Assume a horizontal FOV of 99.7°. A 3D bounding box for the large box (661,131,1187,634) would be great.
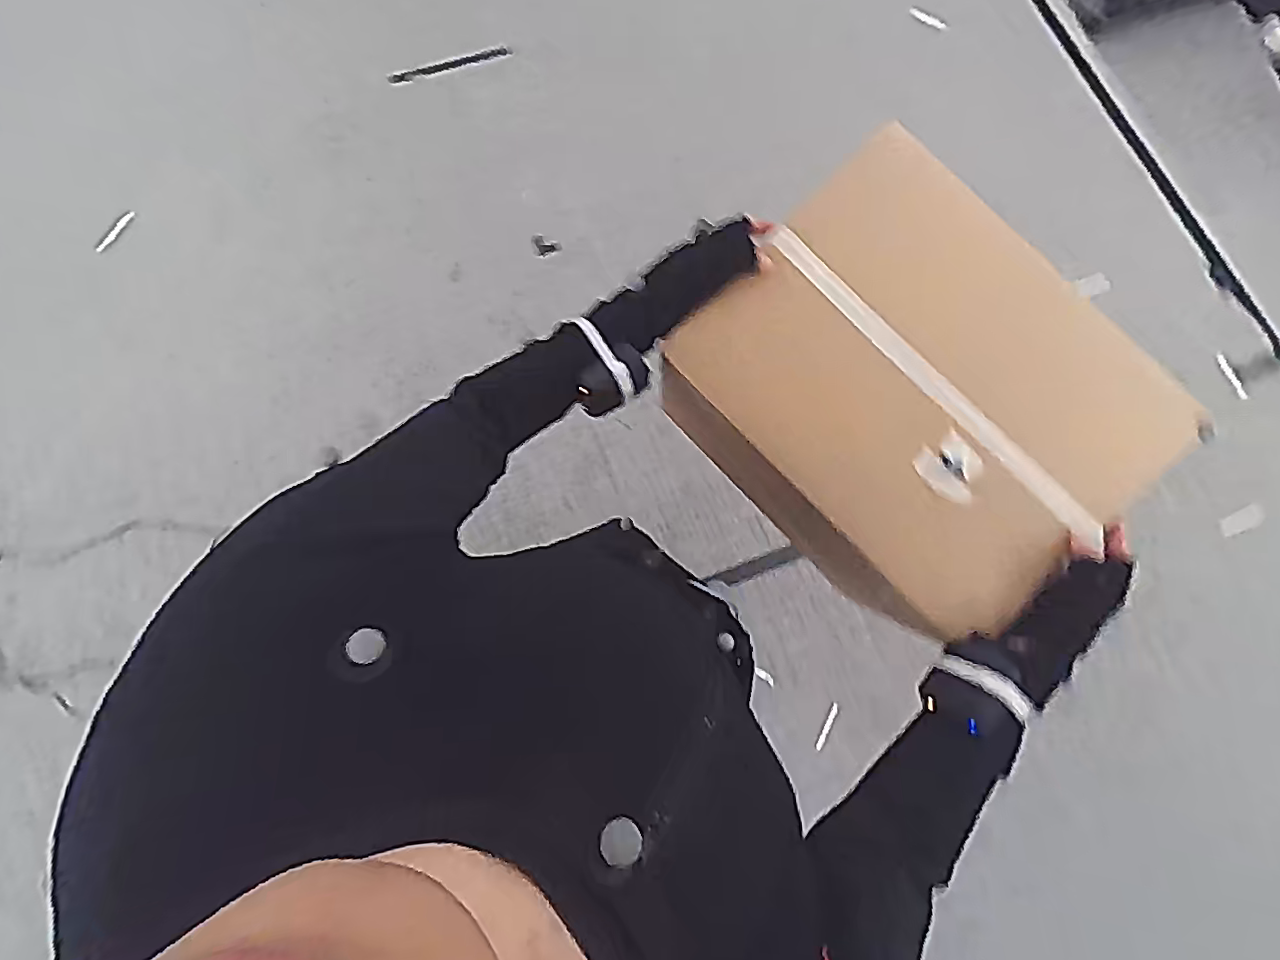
[{"bbox_3d":[0.273,-0.094,0.663,0.320,0.320,0.408,-45,88,1],"label":"large box"}]
